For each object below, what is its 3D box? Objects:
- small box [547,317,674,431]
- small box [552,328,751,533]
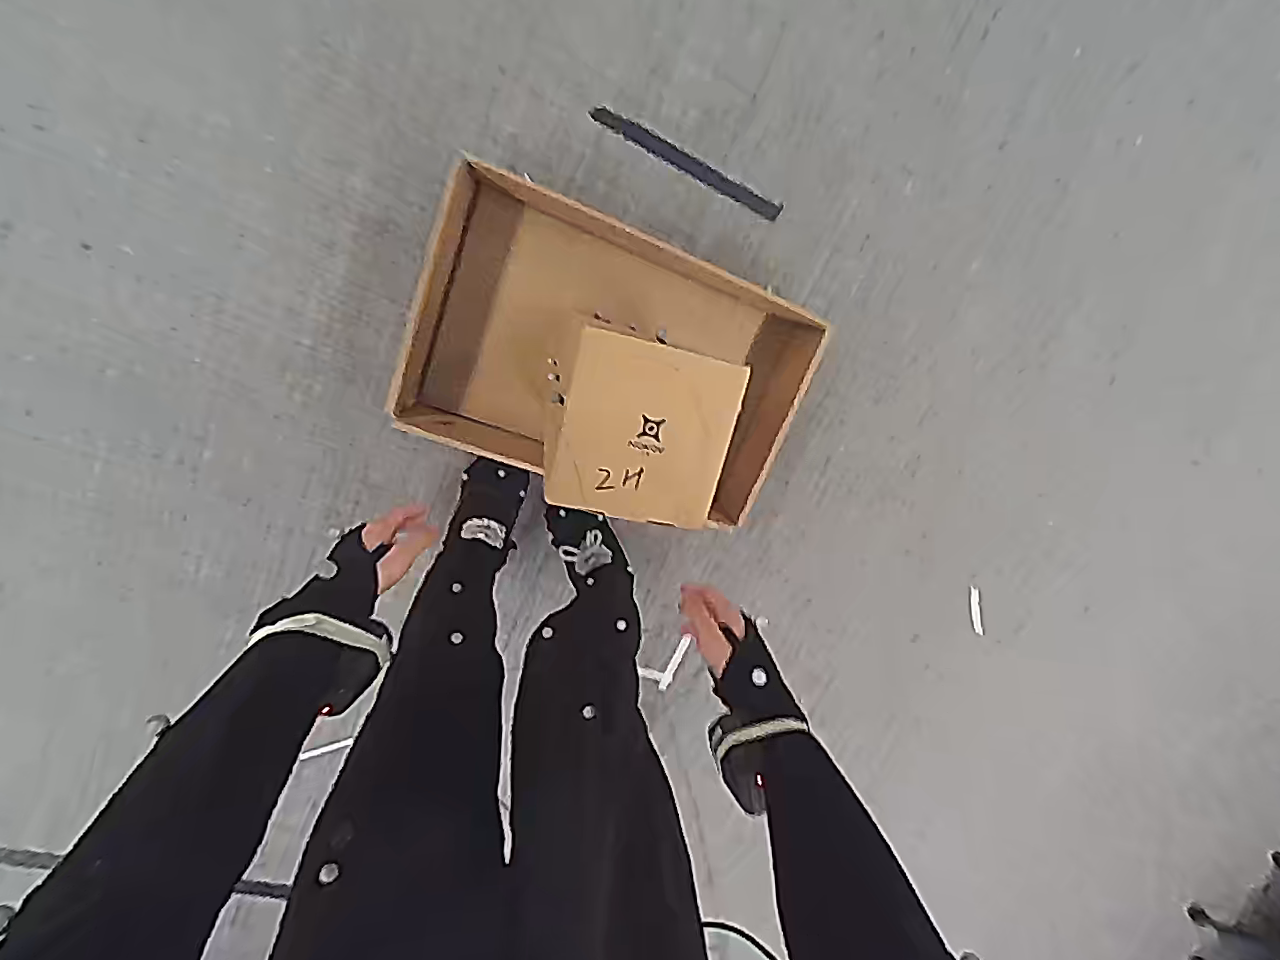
[{"bbox_3d":[-0.059,-0.167,0.911,0.168,0.176,0.179,13,106,-14],"label":"small box"},{"bbox_3d":[-0.002,-0.064,0.603,0.168,0.176,0.179,11,105,-13],"label":"small box"}]
